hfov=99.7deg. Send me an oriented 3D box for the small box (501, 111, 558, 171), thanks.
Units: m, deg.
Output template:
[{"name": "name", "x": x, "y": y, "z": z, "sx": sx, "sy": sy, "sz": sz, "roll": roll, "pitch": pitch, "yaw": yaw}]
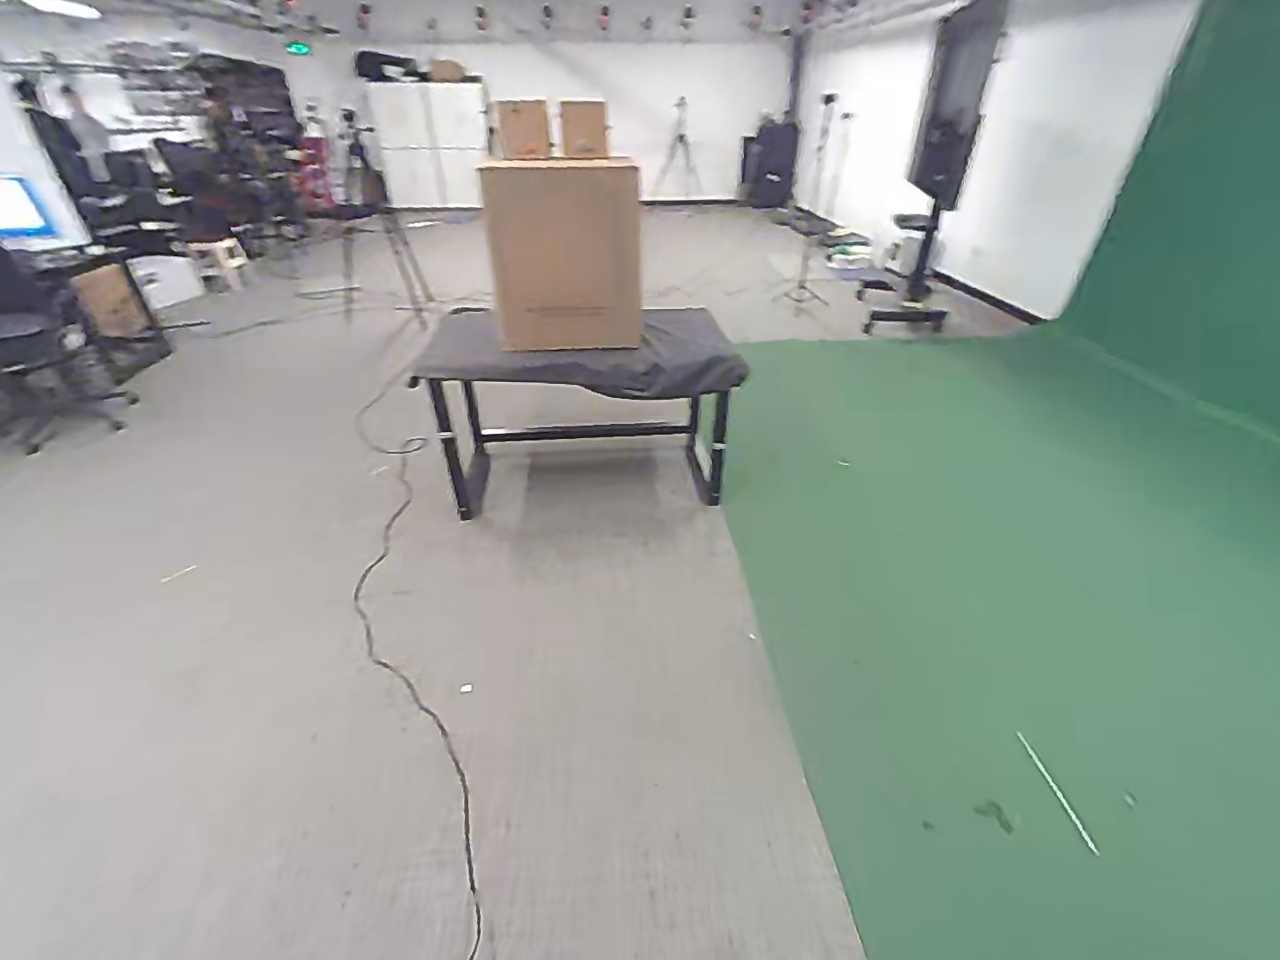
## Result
[{"name": "small box", "x": -0.380, "y": -1.181, "z": 1.888, "sx": 0.168, "sy": 0.176, "sz": 0.179, "roll": -4, "pitch": 32, "yaw": -2}]
